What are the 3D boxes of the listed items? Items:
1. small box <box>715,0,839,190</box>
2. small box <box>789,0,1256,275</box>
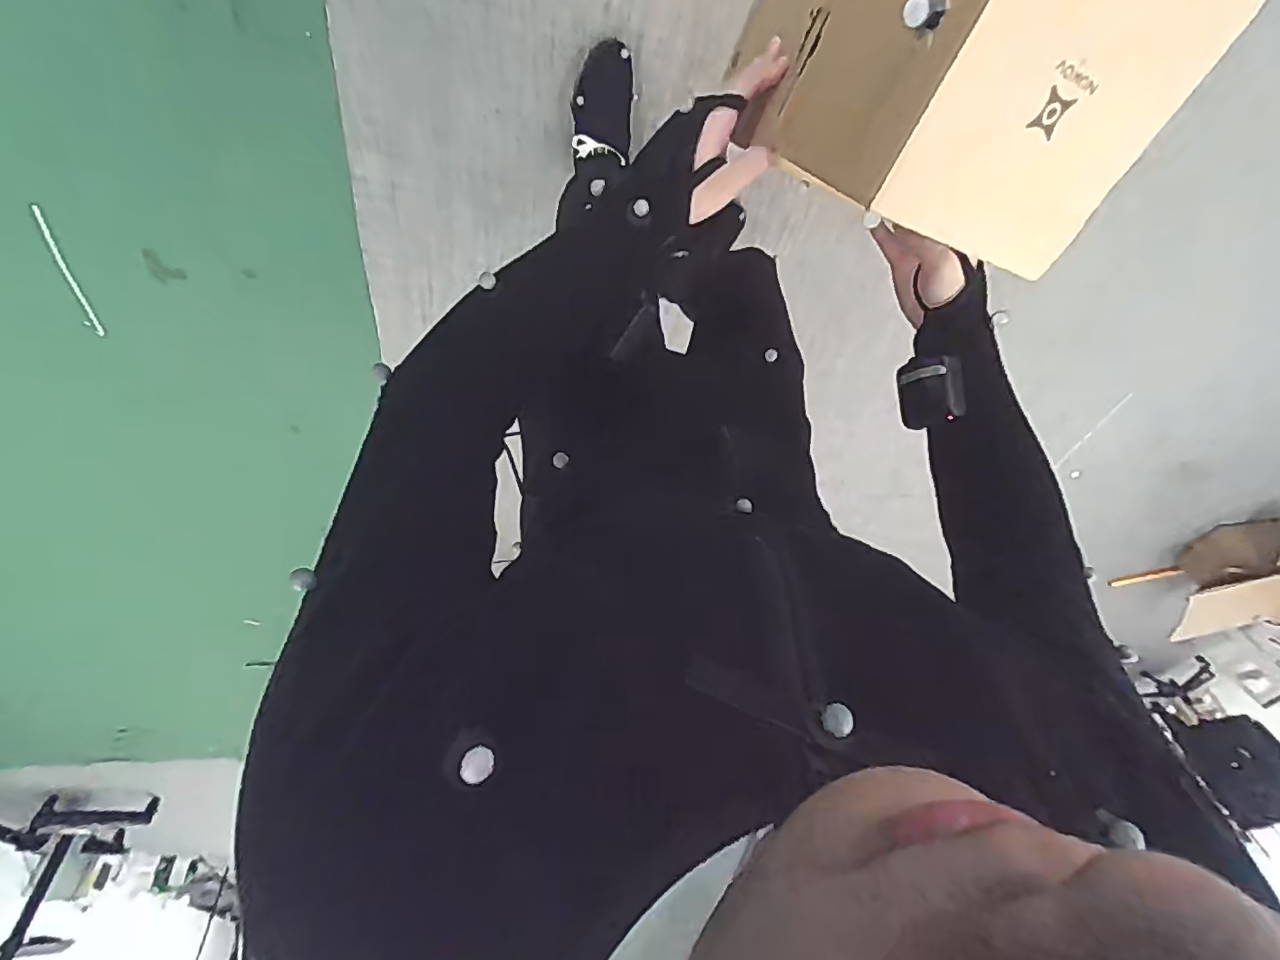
[{"bbox_3d":[0.193,-0.375,0.502,0.179,0.176,0.168,10,128,-23],"label":"small box"},{"bbox_3d":[0.228,-0.277,0.377,0.168,0.176,0.179,9,128,-21],"label":"small box"}]
